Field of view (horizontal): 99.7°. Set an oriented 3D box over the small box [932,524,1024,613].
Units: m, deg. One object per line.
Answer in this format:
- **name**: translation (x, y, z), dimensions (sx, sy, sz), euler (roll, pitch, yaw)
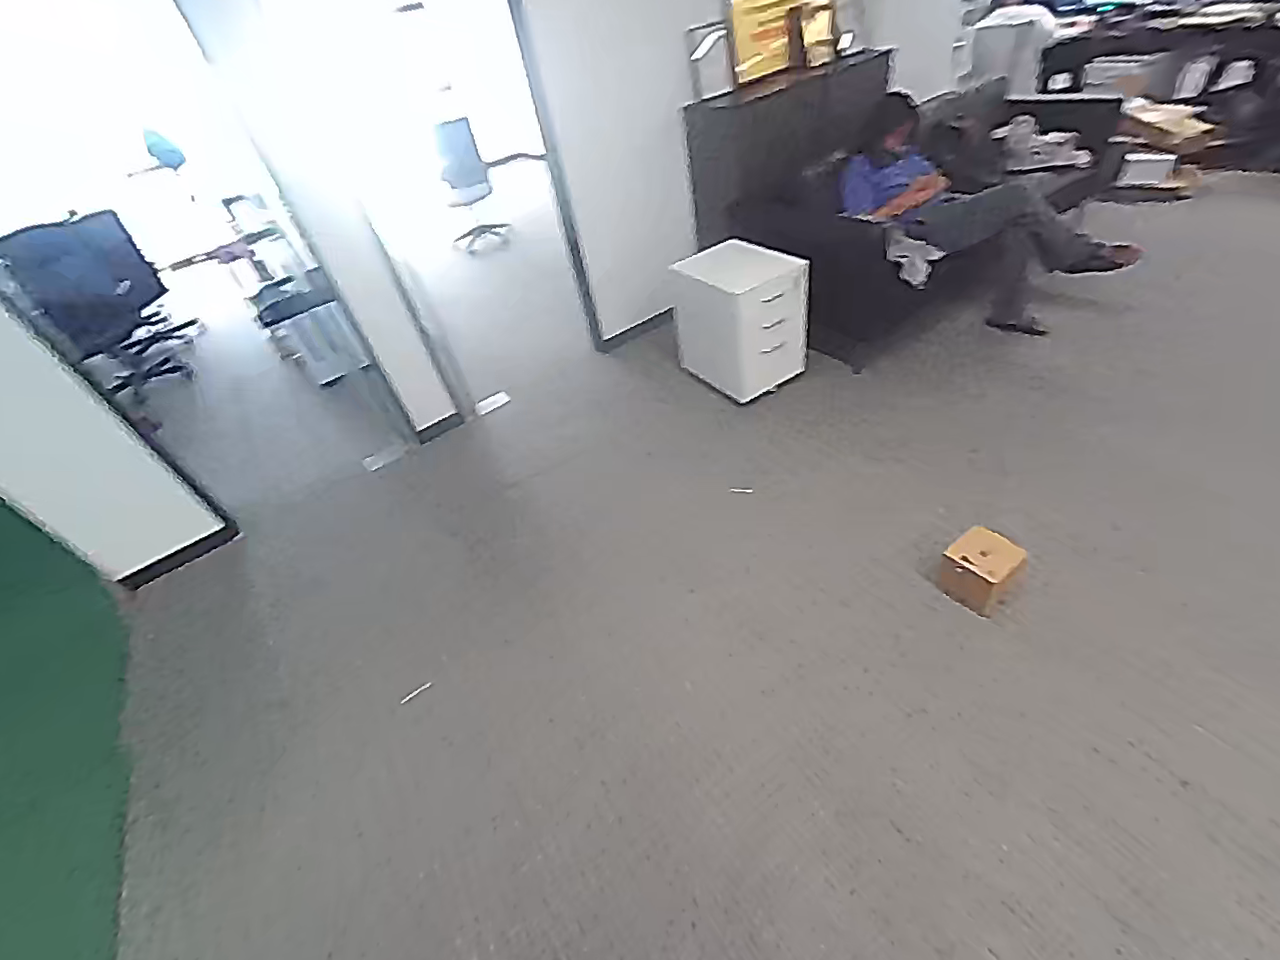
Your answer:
- **small box**: translation (1.050, 0.277, 1.694), dimensions (0.179, 0.176, 0.168), euler (-29, 43, -19)
